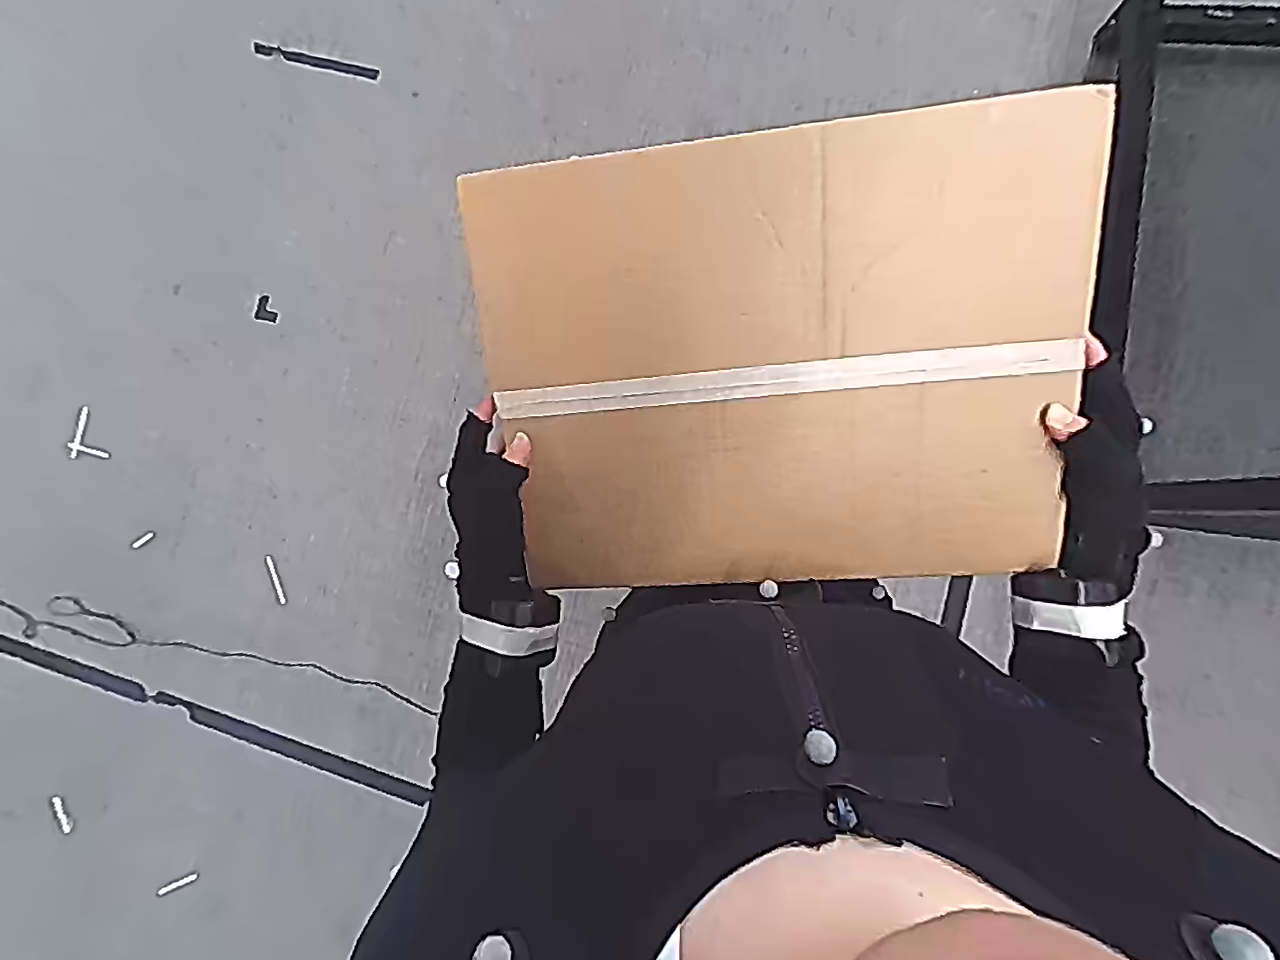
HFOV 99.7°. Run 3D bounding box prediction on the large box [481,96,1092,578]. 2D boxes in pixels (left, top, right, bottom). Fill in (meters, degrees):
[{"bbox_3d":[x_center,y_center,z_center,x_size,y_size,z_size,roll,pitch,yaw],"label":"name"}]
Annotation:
[{"bbox_3d":[0.111,-0.118,0.539,0.408,0.320,0.320,-4,108,7],"label":"large box"}]
